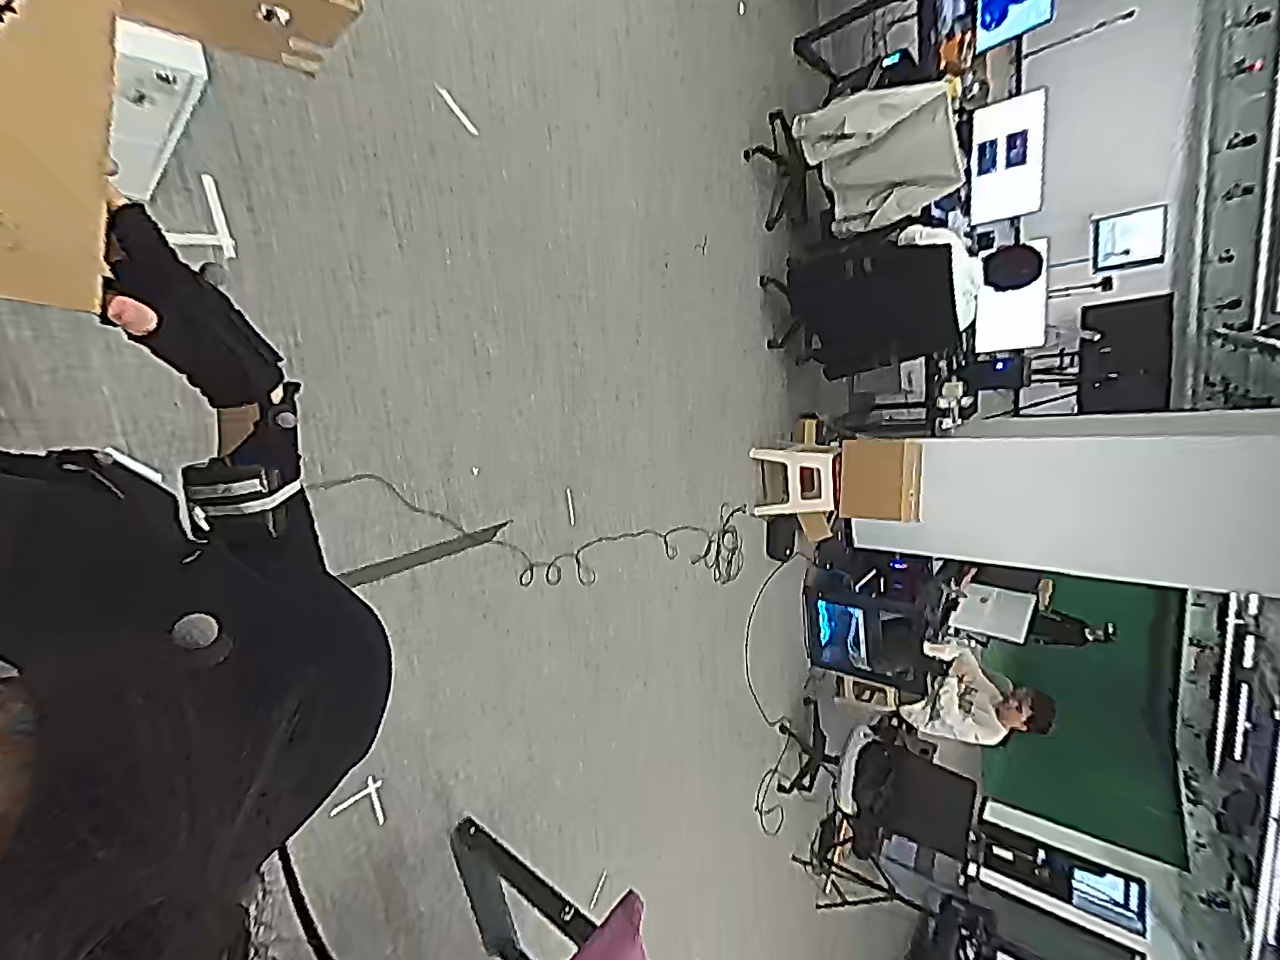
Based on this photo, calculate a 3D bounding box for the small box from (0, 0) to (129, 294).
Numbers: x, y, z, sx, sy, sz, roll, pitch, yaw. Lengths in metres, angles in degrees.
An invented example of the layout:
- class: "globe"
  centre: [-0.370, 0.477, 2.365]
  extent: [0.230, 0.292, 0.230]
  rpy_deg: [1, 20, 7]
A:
- class: "small box"
  centre: [-0.378, -0.210, 0.254]
  extent: [0.168, 0.176, 0.179]
  rpy_deg: [-2, 113, -55]
